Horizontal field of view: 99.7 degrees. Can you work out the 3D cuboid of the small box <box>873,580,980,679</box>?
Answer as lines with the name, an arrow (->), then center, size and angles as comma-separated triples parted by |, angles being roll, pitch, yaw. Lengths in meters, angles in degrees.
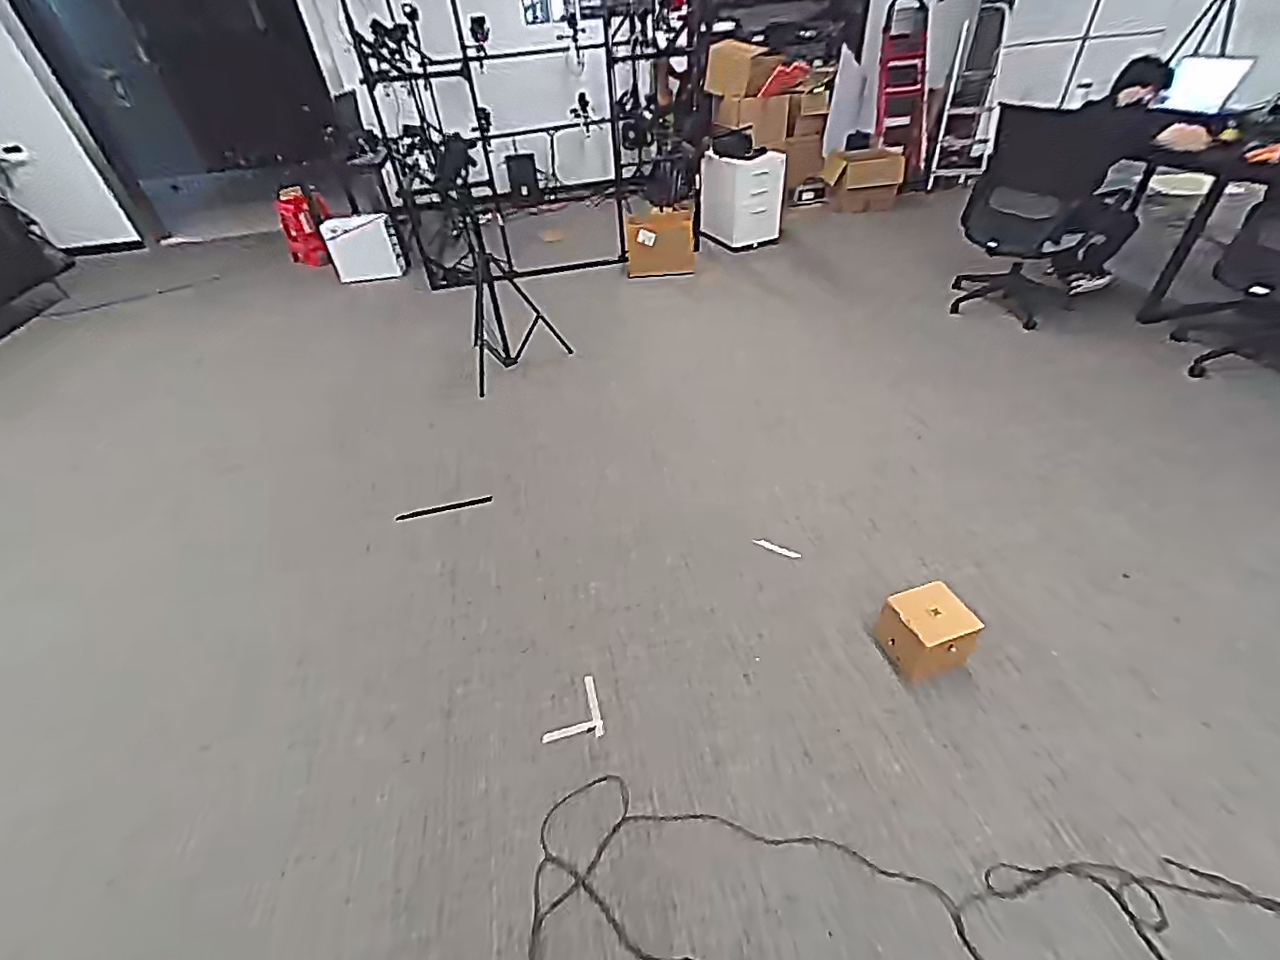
small box -> 0.767, 0.406, 1.467 | 0.179, 0.176, 0.168 | -15, 41, -11
